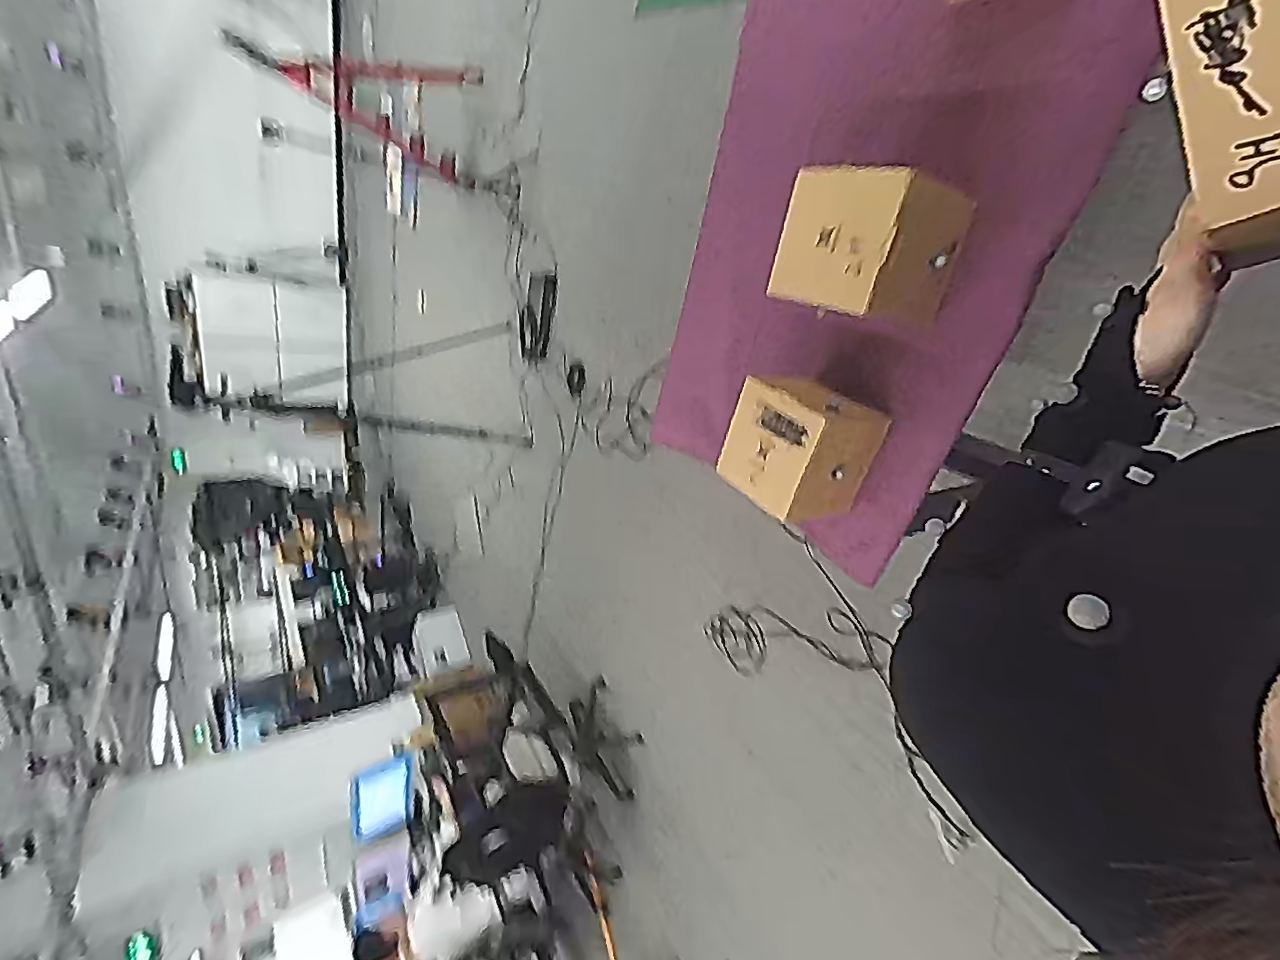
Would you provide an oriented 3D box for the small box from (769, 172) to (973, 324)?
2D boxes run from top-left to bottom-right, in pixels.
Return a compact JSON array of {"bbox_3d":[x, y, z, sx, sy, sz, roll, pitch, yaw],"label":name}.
[{"bbox_3d":[0.319,-0.321,0.760,0.179,0.176,0.168,36,123,47],"label":"small box"}]

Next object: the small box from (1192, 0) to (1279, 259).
[{"bbox_3d":[0.431,-0.241,0.288,0.179,0.176,0.168,-8,88,51],"label":"small box"}]
